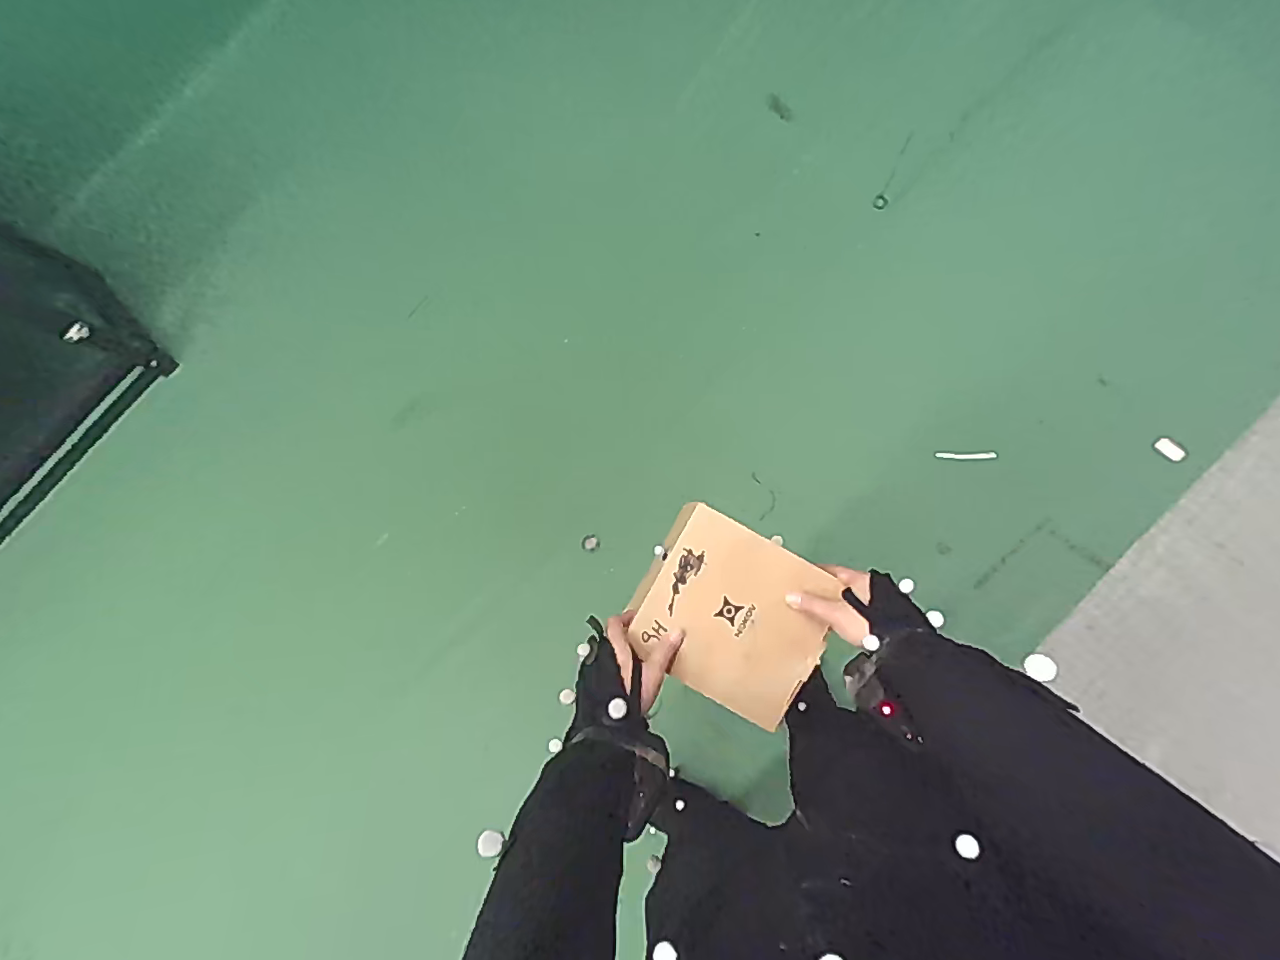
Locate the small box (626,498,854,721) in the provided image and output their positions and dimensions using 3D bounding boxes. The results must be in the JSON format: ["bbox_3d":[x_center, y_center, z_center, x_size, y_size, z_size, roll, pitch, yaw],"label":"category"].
[{"bbox_3d":[0.101,0.130,0.617,0.179,0.176,0.168,30,88,2],"label":"small box"}]
